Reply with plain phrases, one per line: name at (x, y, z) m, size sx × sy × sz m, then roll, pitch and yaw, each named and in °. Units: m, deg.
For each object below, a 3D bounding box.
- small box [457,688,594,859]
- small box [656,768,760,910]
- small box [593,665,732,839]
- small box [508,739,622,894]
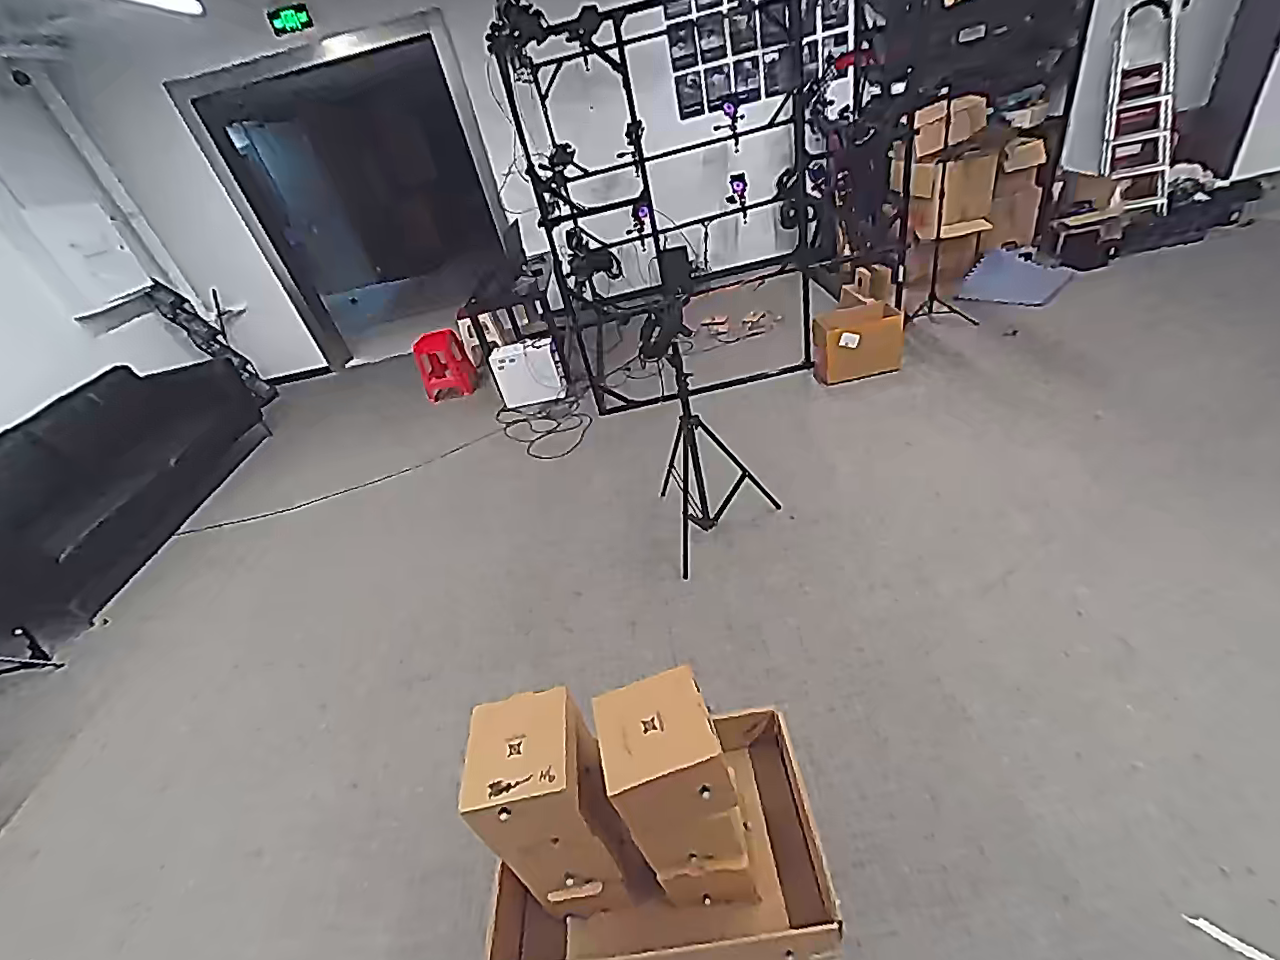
small box at (-0.177, 0.482, 0.894) m, size 0.168 × 0.176 × 0.179 m, roll -15°, pitch 33°, yaw 3°
small box at (0.129, 0.700, 1.055) m, size 0.168 × 0.176 × 0.179 m, roll -14°, pitch 35°, yaw 8°
small box at (0.039, 0.441, 0.876) m, size 0.179 × 0.176 × 0.168 m, roll -20°, pitch 34°, yaw 0°
small box at (-0.135, 0.613, 0.988) m, size 0.168 × 0.176 × 0.179 m, roll -14°, pitch 35°, yaw 2°
